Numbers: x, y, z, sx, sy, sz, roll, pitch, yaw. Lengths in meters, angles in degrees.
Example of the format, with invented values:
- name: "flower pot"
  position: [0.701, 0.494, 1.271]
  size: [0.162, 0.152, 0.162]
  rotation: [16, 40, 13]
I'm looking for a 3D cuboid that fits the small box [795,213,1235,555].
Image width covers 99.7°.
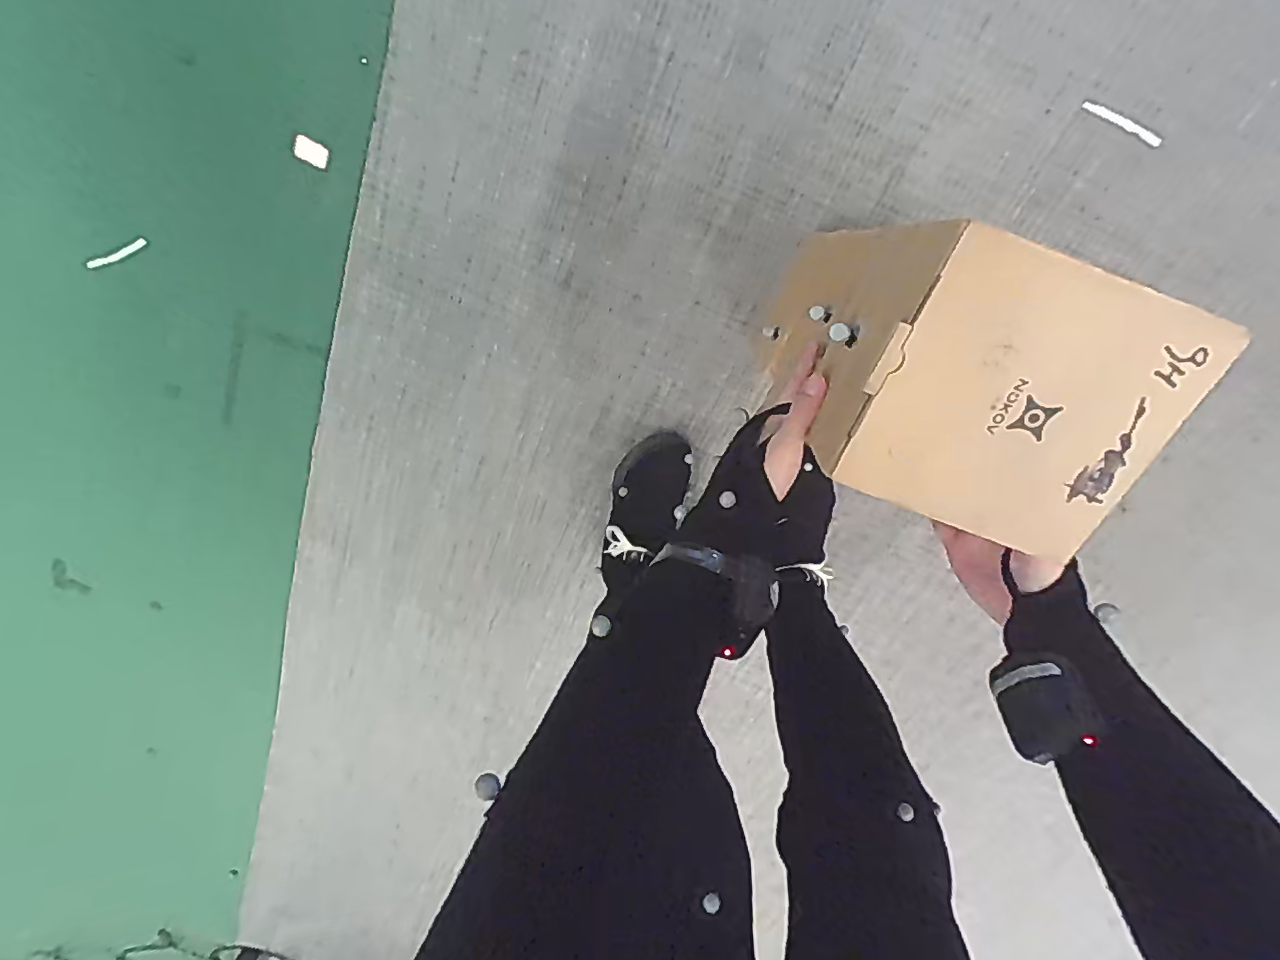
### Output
- name: "small box"
  position: [0.233, -0.077, 0.403]
  size: [0.179, 0.176, 0.168]
  rotation: [20, 114, -1]

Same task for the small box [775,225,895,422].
- name: "small box"
  position: [0.250, -0.137, 0.554]
  size: [0.168, 0.176, 0.179]
  rotation: [21, 112, -2]

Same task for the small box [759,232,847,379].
- name: "small box"
  position: [0.267, -0.202, 0.705]
  size: [0.168, 0.176, 0.179]
  rotation: [23, 115, -5]
